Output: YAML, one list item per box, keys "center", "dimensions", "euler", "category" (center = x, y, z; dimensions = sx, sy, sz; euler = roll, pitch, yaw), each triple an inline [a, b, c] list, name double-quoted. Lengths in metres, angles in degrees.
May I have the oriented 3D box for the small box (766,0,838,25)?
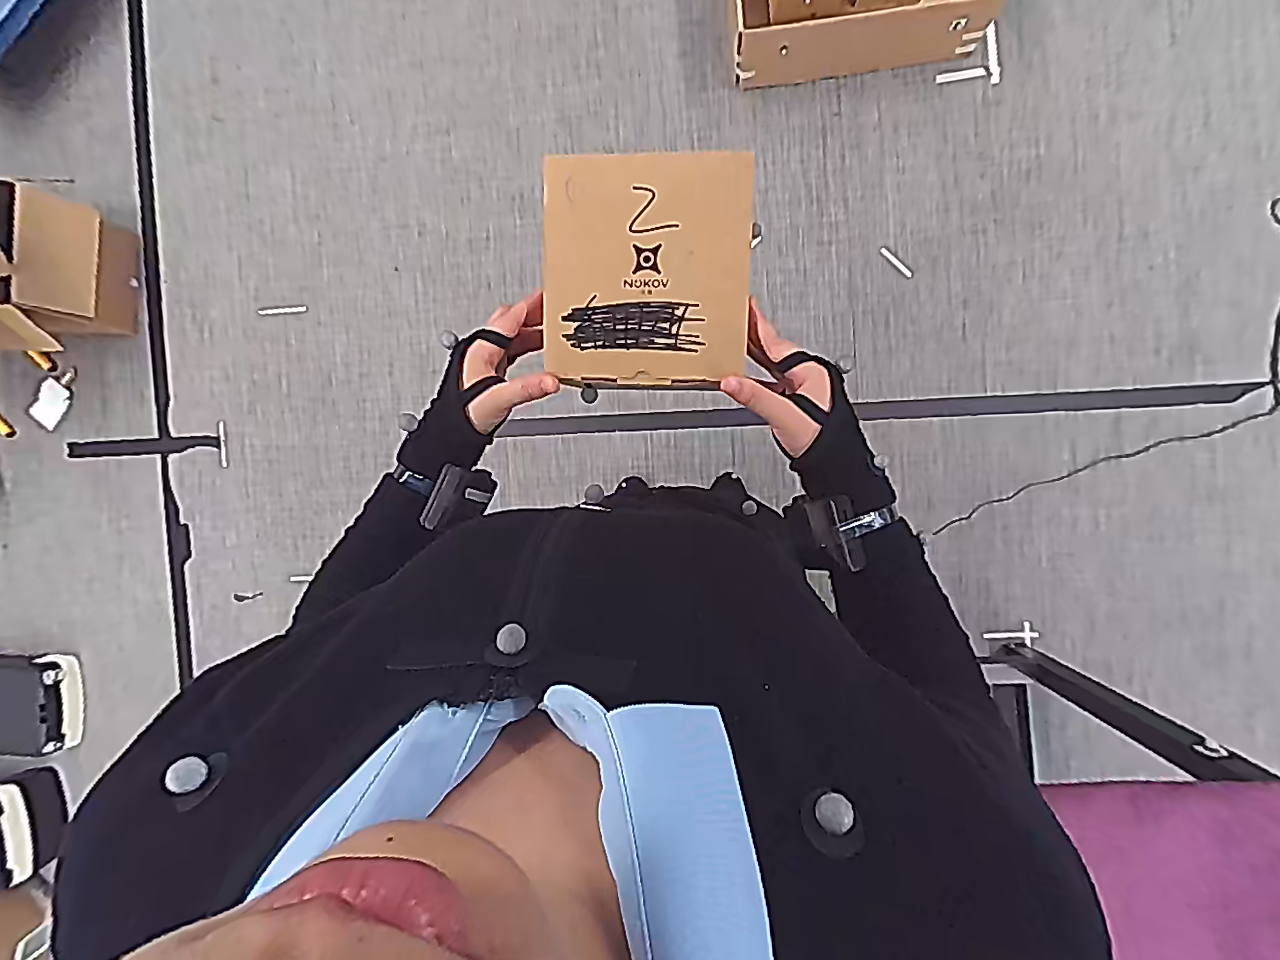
- center: [0.402, -1.255, 1.315]
  dimensions: [0.168, 0.176, 0.179]
  euler: [-6, 91, 4]
  category: "small box"

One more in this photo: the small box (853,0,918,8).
- center: [0.617, -1.290, 1.295]
  dimensions: [0.168, 0.176, 0.179]
  euler: [1, 92, 6]
  category: "small box"
